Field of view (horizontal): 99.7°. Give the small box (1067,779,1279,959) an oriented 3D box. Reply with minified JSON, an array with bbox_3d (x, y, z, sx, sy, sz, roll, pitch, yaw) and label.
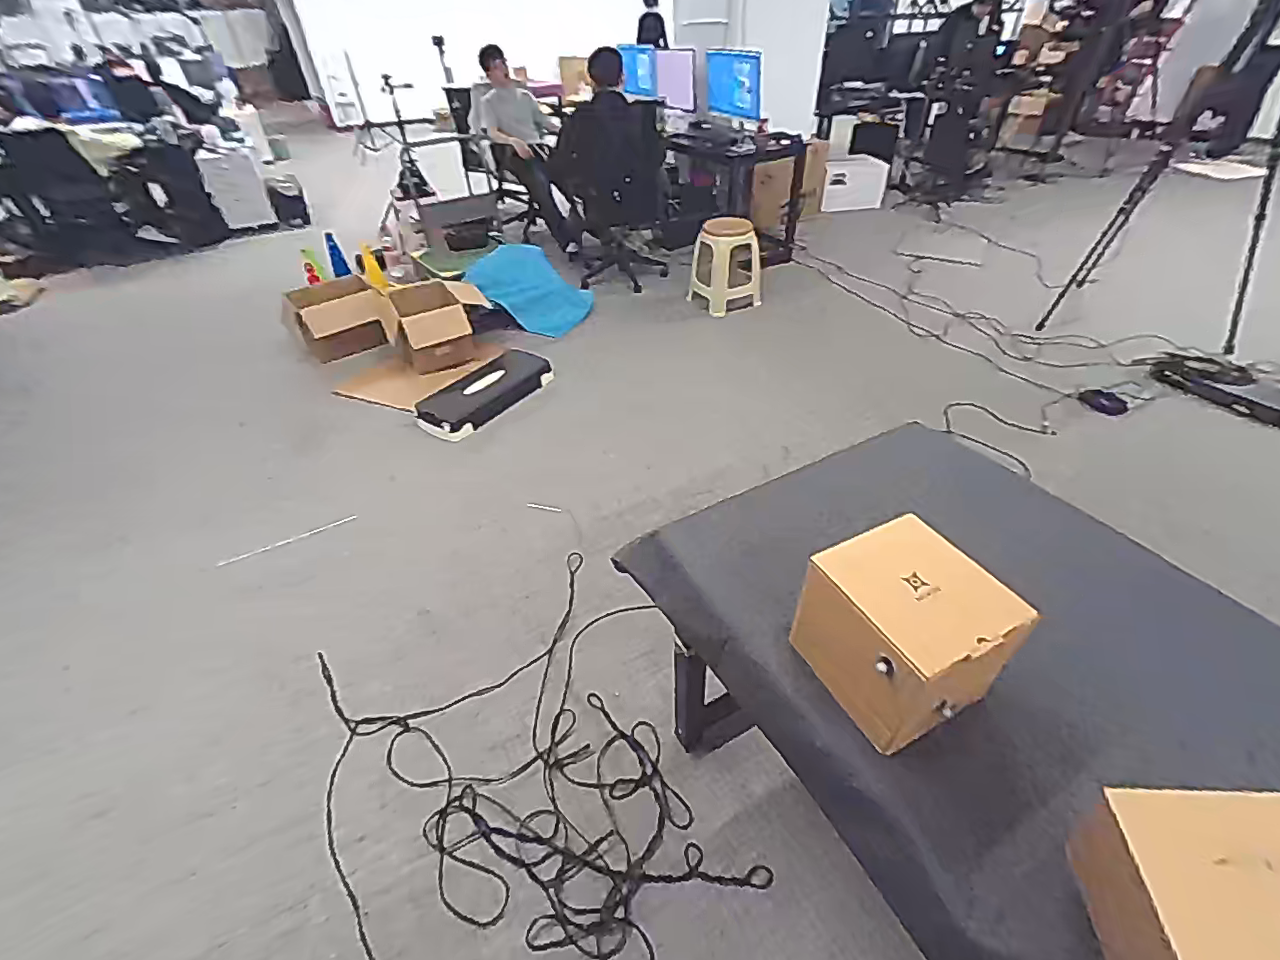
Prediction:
[{"bbox_3d":[0.444,0.333,0.381,0.168,0.176,0.179,-10,42,17],"label":"small box"}]

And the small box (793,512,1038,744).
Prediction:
[{"bbox_3d":[0.307,0.173,0.648,0.168,0.176,0.179,-18,43,-19],"label":"small box"}]
